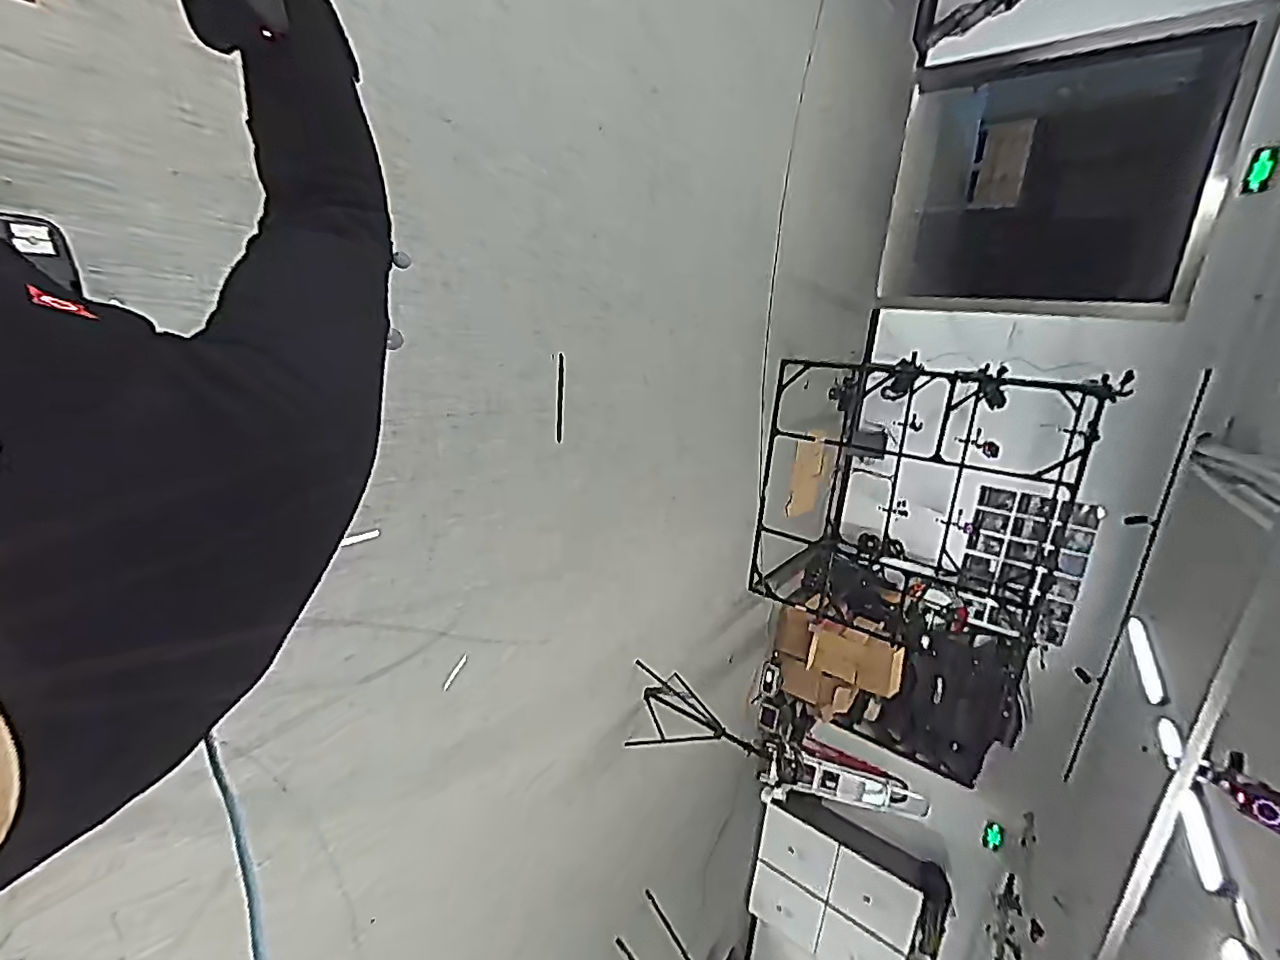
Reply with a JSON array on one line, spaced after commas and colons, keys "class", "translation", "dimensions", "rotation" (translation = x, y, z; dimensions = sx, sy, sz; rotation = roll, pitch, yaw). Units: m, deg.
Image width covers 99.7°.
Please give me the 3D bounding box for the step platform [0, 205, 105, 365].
[{"class": "step platform", "translation": [-1.329, -0.328, 0.855], "dimensions": [0.684, 0.204, 0.286], "rotation": [-19, 117, -52]}]
